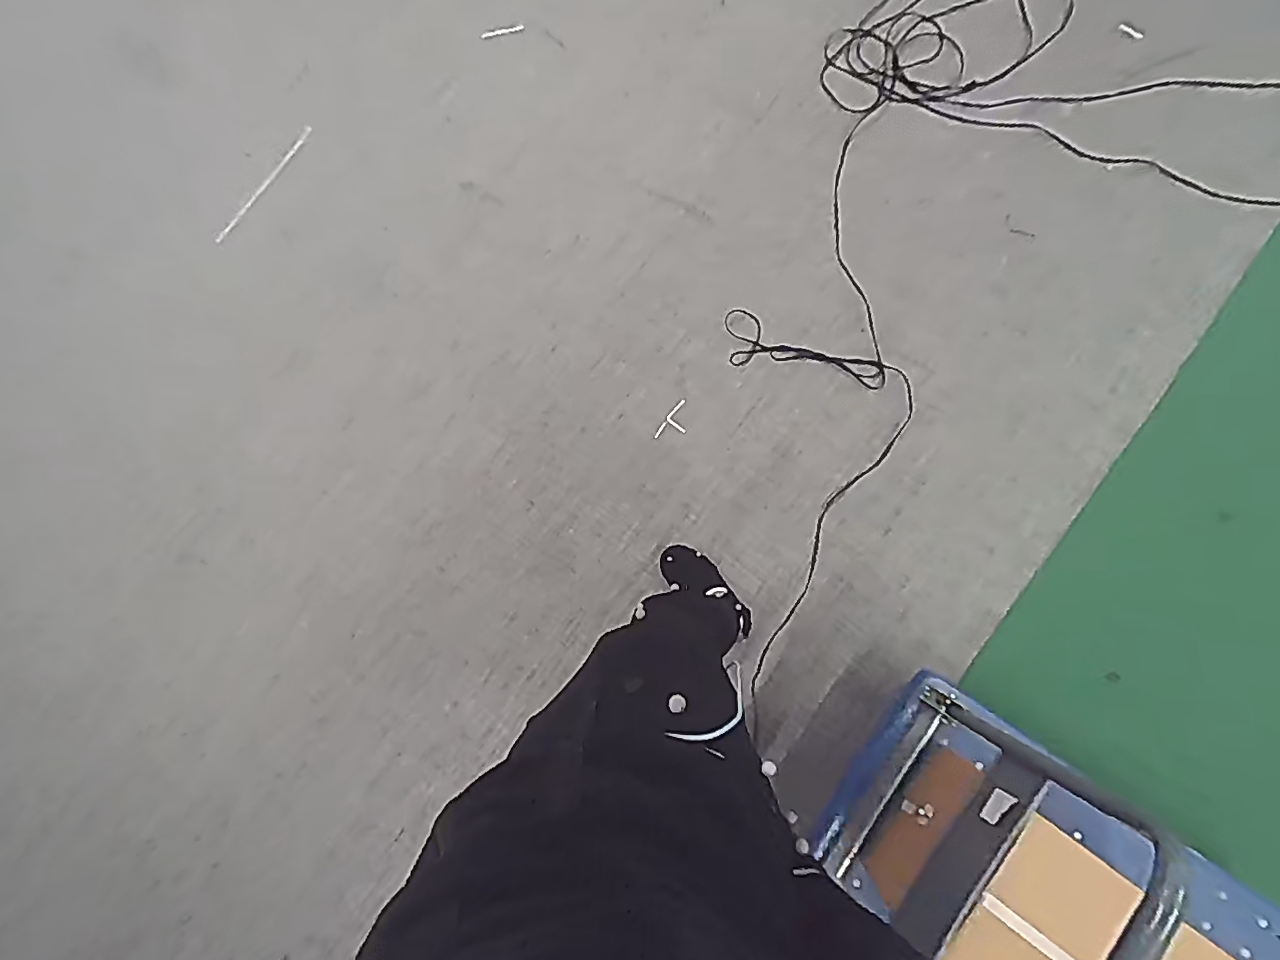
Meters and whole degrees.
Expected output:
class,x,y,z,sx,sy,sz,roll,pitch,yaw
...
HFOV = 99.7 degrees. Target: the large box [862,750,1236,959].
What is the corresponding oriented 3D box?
class,x,y,z,sx,sy,sz,roll,pitch,yaw
large box,0.703,0.790,0.990,0.408,0.320,0.320,36,86,8
